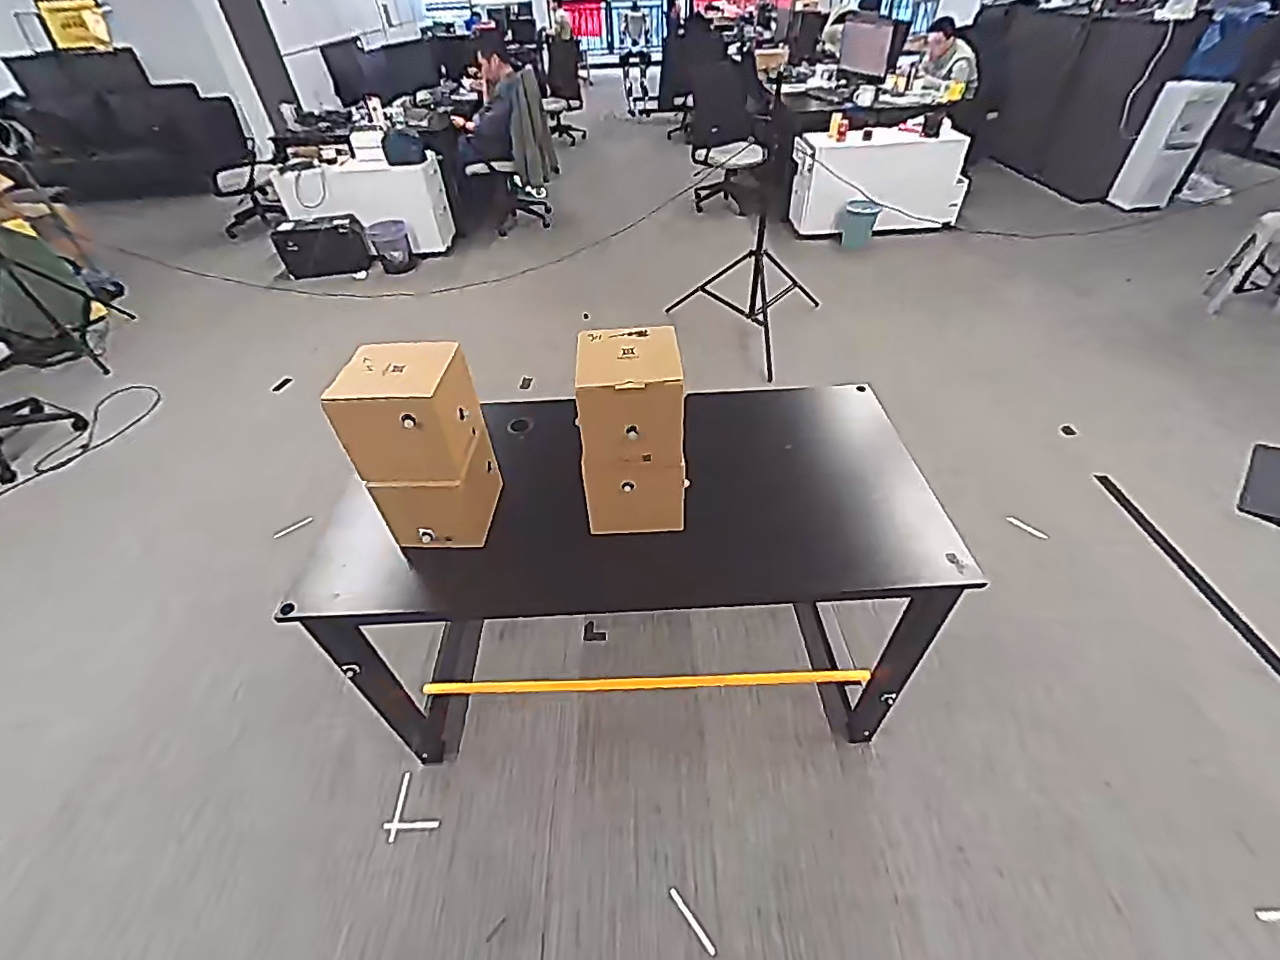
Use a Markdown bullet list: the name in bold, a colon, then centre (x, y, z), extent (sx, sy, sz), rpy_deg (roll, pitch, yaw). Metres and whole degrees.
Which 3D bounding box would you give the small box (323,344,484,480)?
- **small box**: centre (-0.380, -0.113, 0.912), extent (0.179, 0.176, 0.168), rpy_deg (-1, 43, 3)

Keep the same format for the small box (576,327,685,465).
- **small box**: centre (-0.013, -0.137, 0.915), extent (0.168, 0.176, 0.179), rpy_deg (-4, 44, 0)

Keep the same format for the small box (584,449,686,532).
- **small box**: centre (-0.006, -0.015, 1.024), extent (0.179, 0.176, 0.168), rpy_deg (-2, 44, 0)

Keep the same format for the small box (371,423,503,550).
- **small box**: centre (-0.368, 0.011, 1.020), extent (0.168, 0.176, 0.179), rpy_deg (-2, 44, 3)
